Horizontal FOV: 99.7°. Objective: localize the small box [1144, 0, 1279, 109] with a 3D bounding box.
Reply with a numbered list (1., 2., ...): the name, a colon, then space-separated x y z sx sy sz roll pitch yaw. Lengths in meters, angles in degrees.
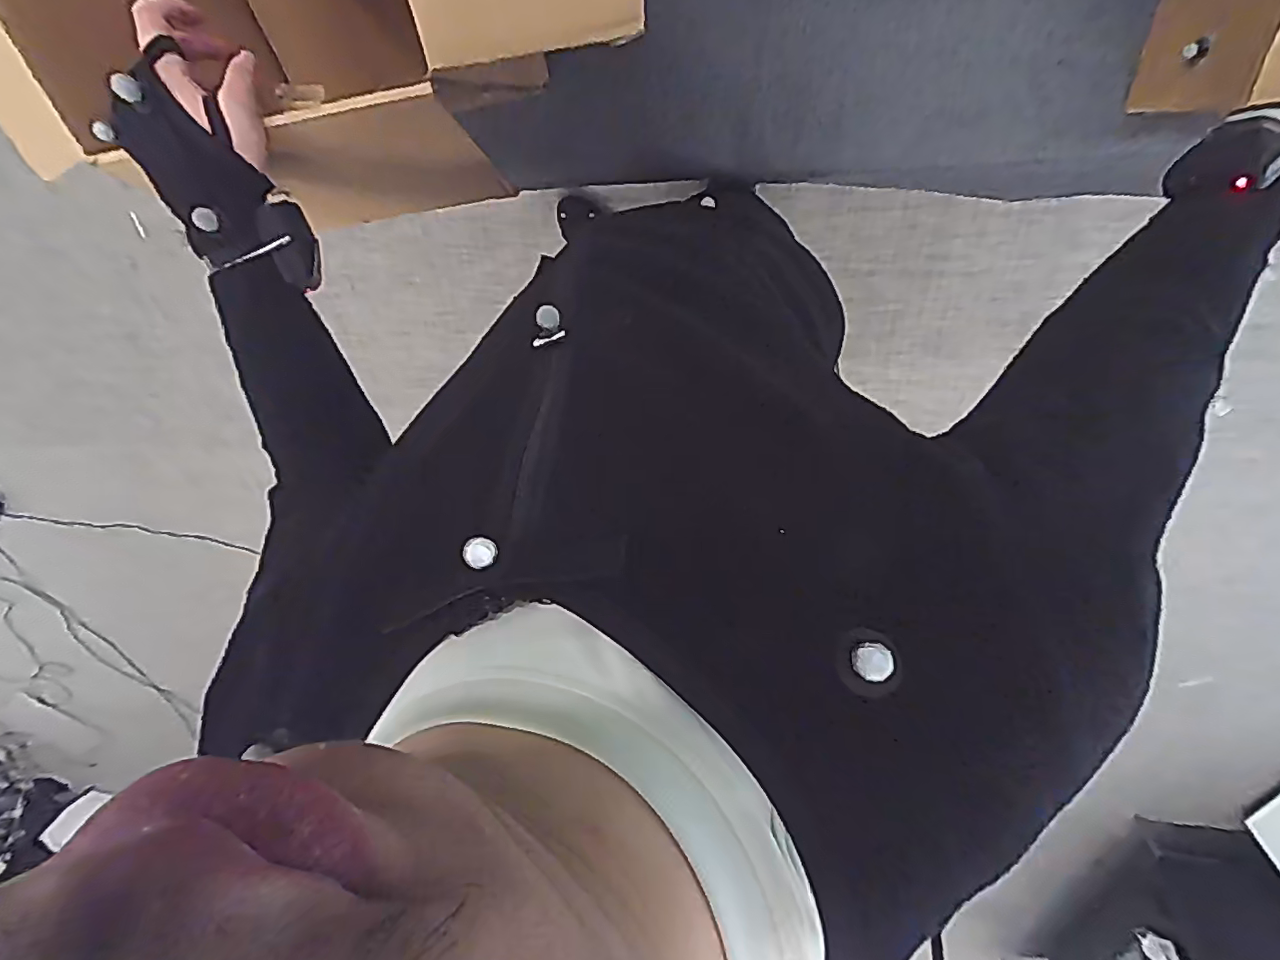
1. small box: 0.564 -0.411 0.430 0.168 0.176 0.179 0 124 10
